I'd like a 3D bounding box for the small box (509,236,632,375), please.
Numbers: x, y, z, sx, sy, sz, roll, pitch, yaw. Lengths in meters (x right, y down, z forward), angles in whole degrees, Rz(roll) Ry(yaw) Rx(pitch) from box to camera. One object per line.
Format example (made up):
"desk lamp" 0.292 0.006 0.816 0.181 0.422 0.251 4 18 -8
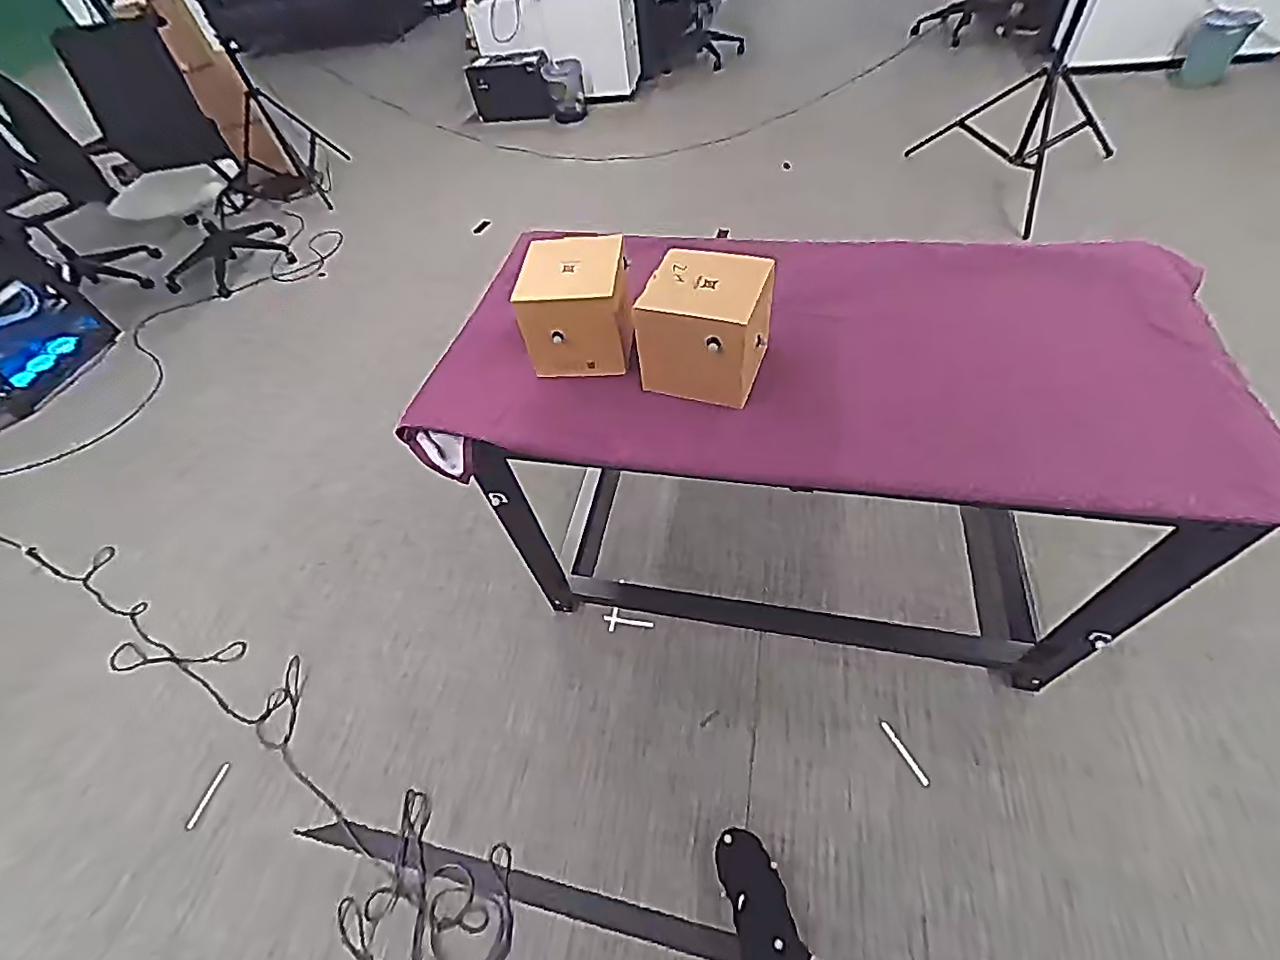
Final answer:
"small box" -0.110 -0.299 0.952 0.168 0.176 0.179 -1 53 8

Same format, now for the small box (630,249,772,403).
"small box" 0.103 -0.246 0.877 0.179 0.176 0.168 14 55 19
